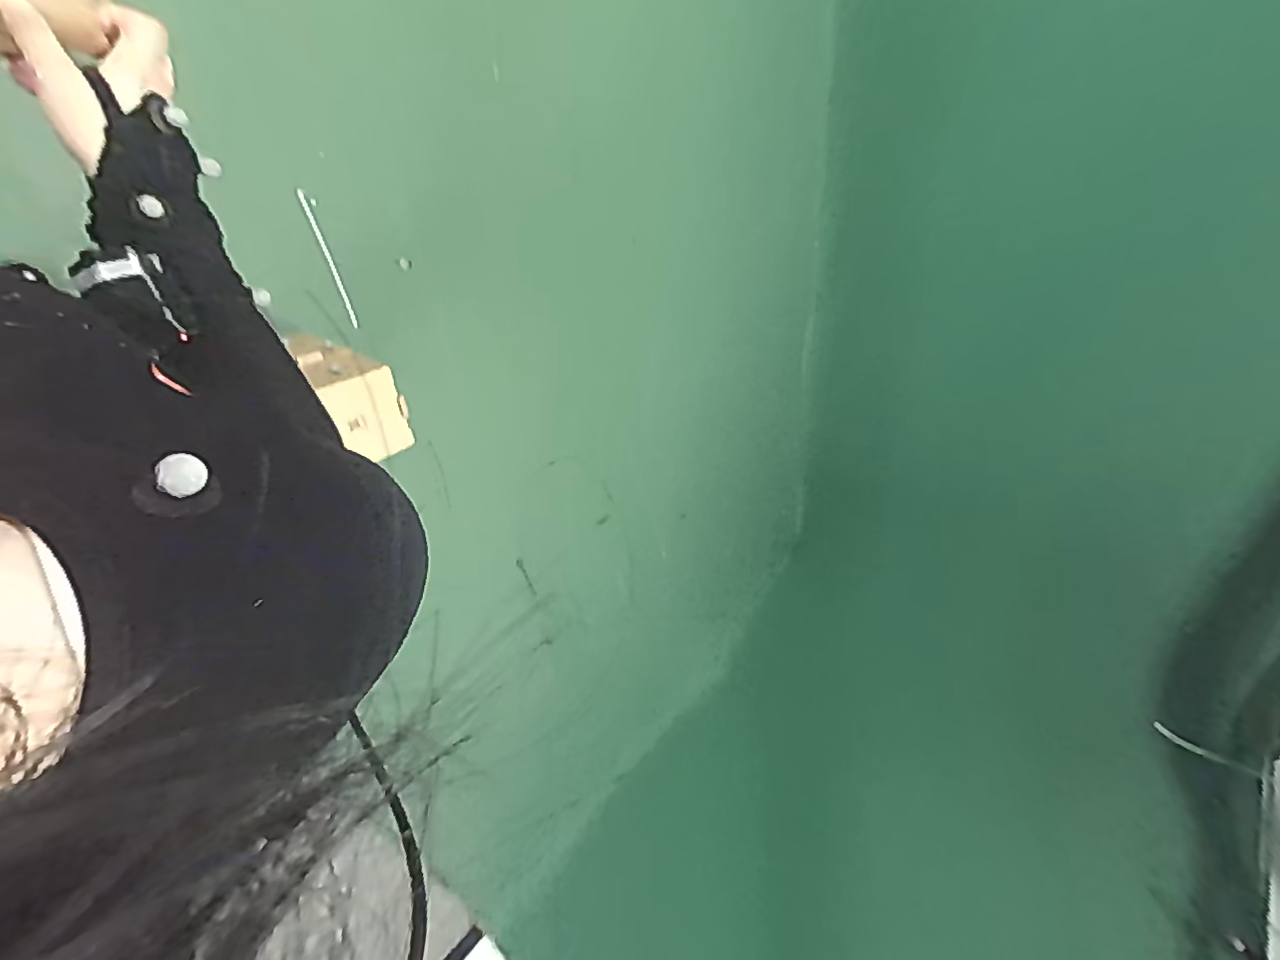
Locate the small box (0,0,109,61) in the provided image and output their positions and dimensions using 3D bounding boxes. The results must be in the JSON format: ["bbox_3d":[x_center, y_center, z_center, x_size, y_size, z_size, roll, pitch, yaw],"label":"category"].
[{"bbox_3d":[-0.461,-0.378,0.307,0.168,0.176,0.179,-19,155,-22],"label":"small box"}]

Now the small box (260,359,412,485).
[{"bbox_3d":[-0.578,-0.121,1.035,0.179,0.176,0.168,-34,133,-37],"label":"small box"}]
